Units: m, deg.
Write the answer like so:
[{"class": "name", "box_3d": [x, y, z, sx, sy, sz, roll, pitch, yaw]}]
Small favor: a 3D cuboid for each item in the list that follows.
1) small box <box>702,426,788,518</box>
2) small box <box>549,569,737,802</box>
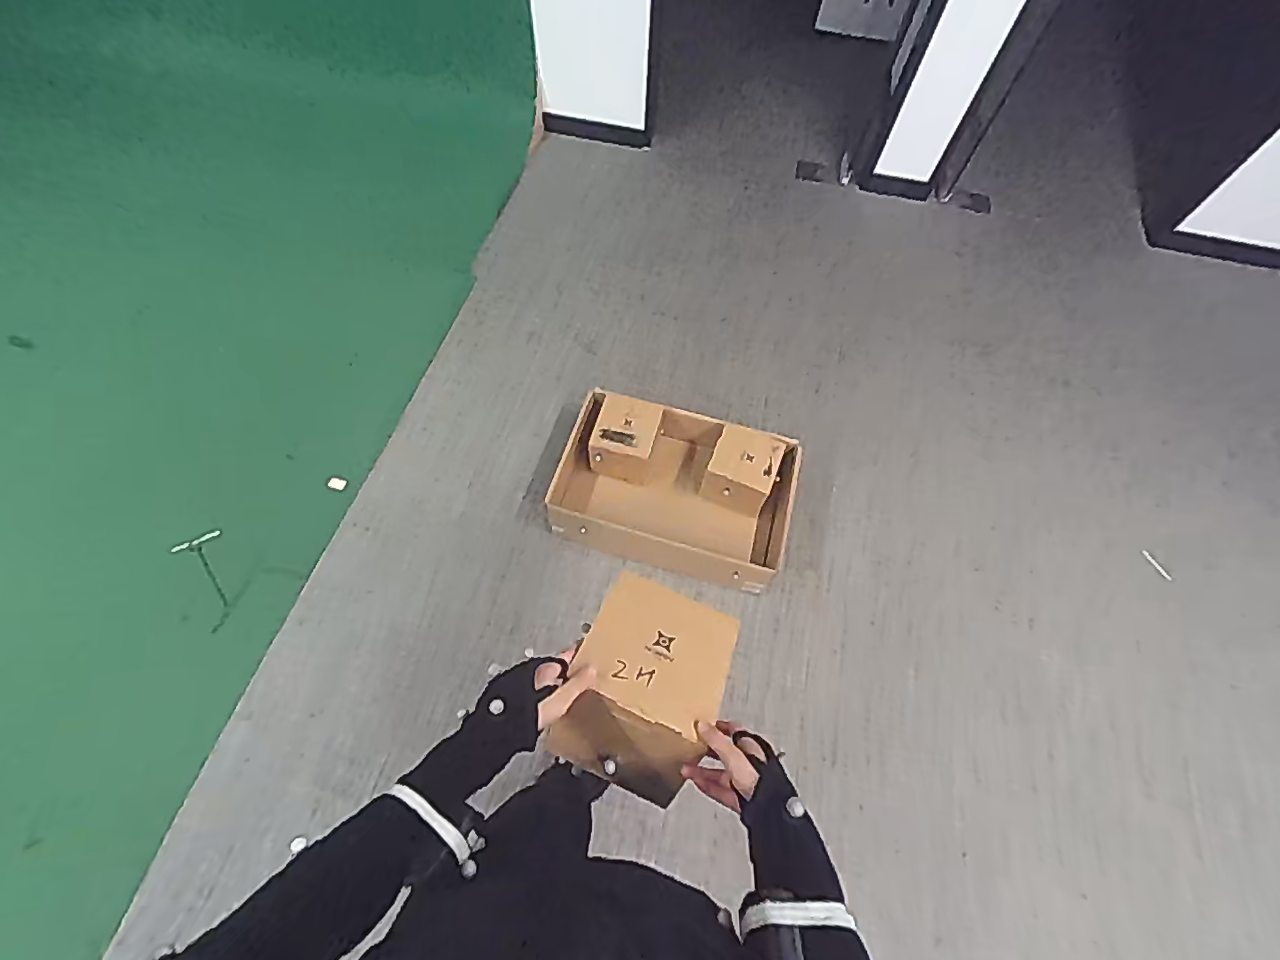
[{"class": "small box", "box_3d": [0.282, -0.016, 1.492, 0.179, 0.176, 0.168, 22, 65, 11]}, {"class": "small box", "box_3d": [0.001, 0.251, 0.670, 0.168, 0.176, 0.179, 23, 39, 9]}]
